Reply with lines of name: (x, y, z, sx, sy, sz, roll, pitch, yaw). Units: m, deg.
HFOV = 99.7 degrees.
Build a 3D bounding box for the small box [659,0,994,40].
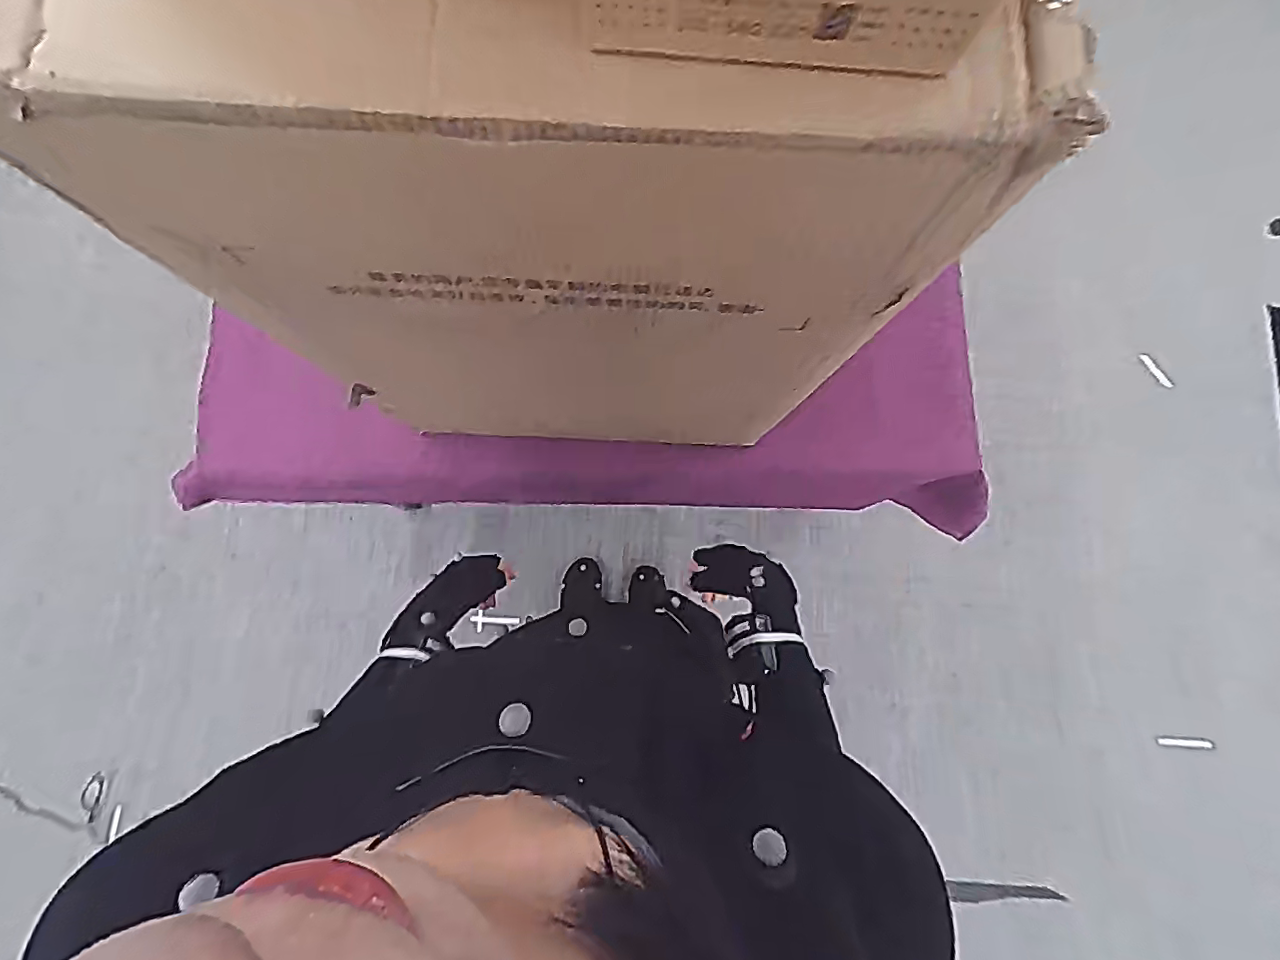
small box: (0.068, -0.281, 0.160, 0.168, 0.176, 0.179, 4, 81, 0)
